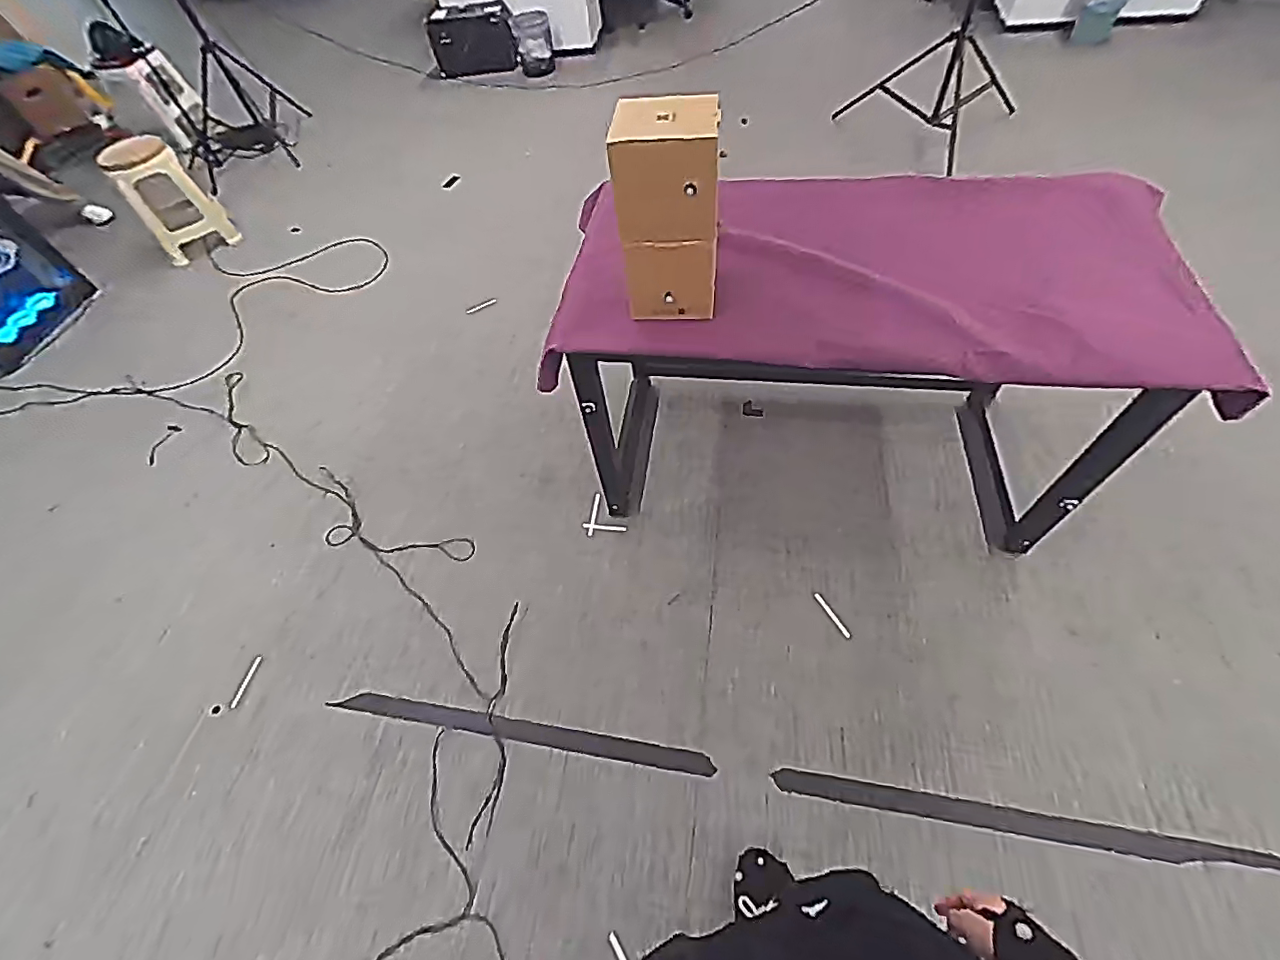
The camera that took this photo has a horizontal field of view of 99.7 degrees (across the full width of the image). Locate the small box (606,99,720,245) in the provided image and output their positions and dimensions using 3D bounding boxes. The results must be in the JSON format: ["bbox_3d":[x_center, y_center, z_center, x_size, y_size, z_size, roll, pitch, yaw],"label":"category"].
[{"bbox_3d":[0.047,-0.530,0.943,0.179,0.176,0.168,1,54,8],"label":"small box"}]

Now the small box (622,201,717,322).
[{"bbox_3d":[0.064,-0.438,1.075,0.168,0.176,0.179,2,56,8],"label":"small box"}]
